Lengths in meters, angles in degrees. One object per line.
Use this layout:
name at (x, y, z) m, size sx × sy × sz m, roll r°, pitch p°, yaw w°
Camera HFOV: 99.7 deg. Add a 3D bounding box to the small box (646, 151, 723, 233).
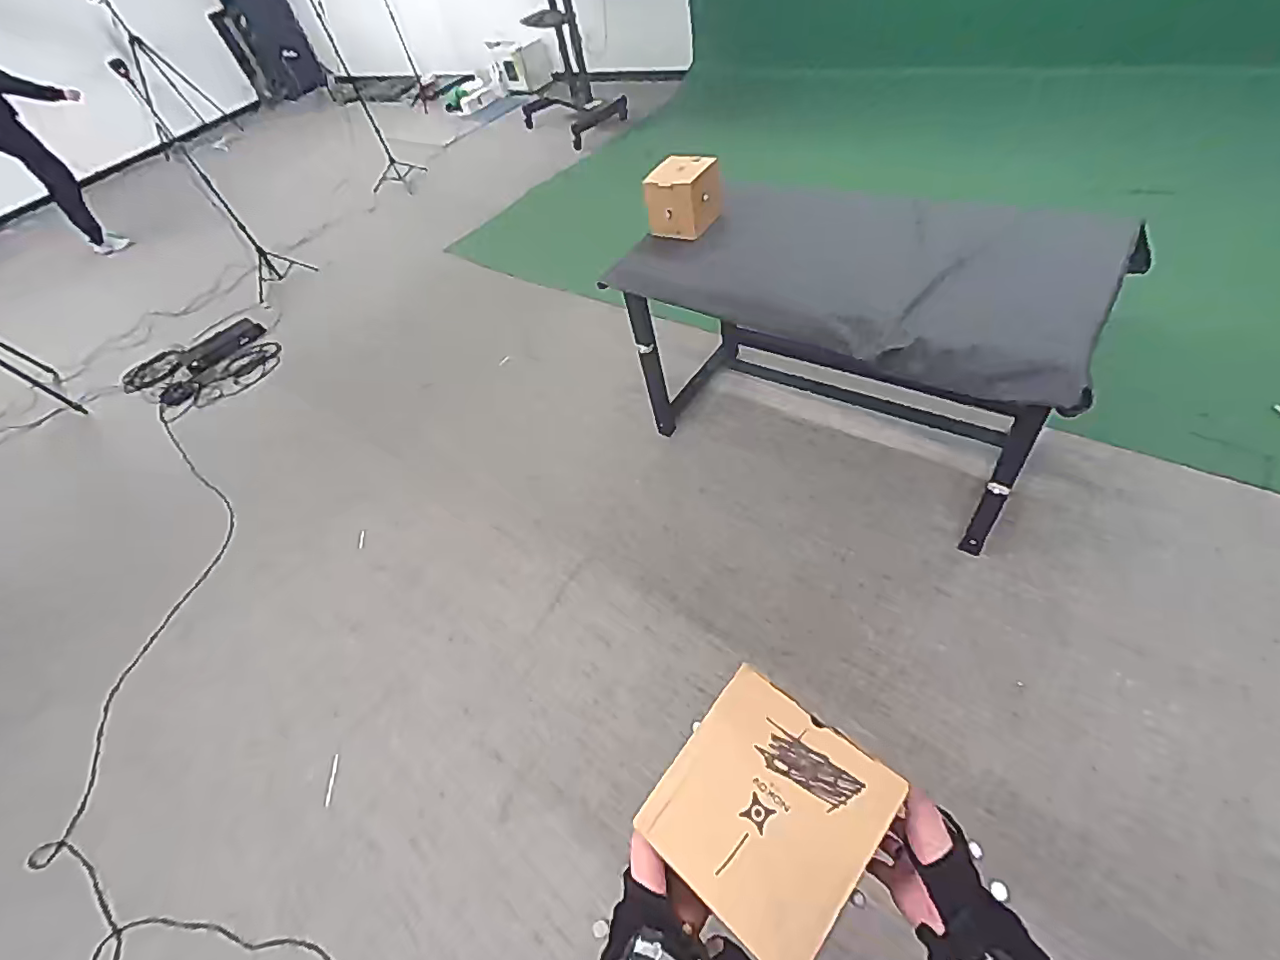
small box at (0.145, -0.883, 1.661) m, size 0.168 × 0.176 × 0.179 m, roll 21°, pitch 60°, yaw 28°
